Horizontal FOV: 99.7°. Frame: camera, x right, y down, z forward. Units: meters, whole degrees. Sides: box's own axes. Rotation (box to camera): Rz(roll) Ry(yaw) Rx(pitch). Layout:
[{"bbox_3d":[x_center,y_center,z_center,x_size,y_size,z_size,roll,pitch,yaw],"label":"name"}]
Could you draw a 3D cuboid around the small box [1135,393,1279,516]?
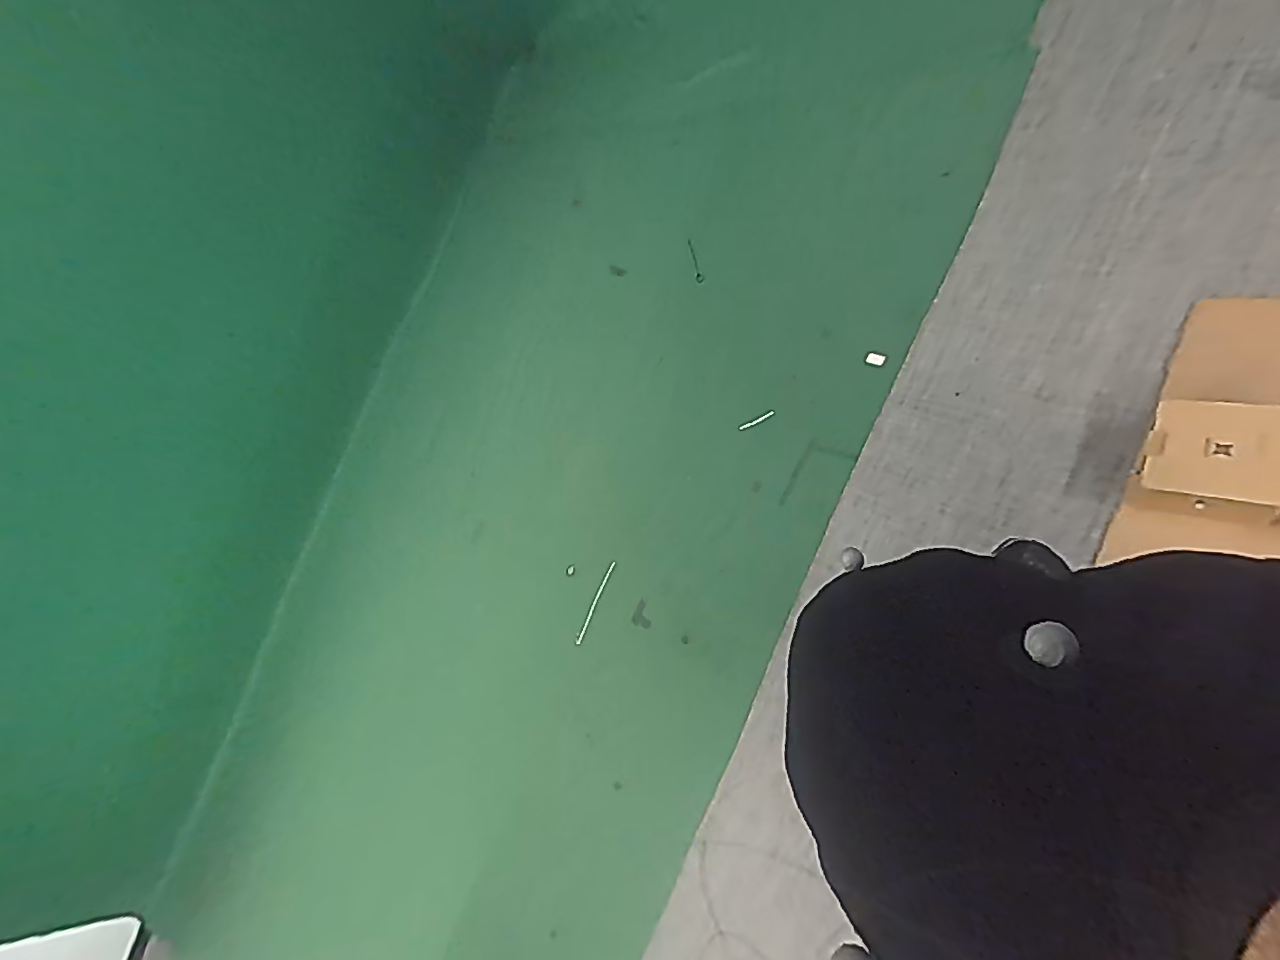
[{"bbox_3d":[1.005,-0.041,0.951,0.179,0.176,0.168,14,85,41],"label":"small box"}]
